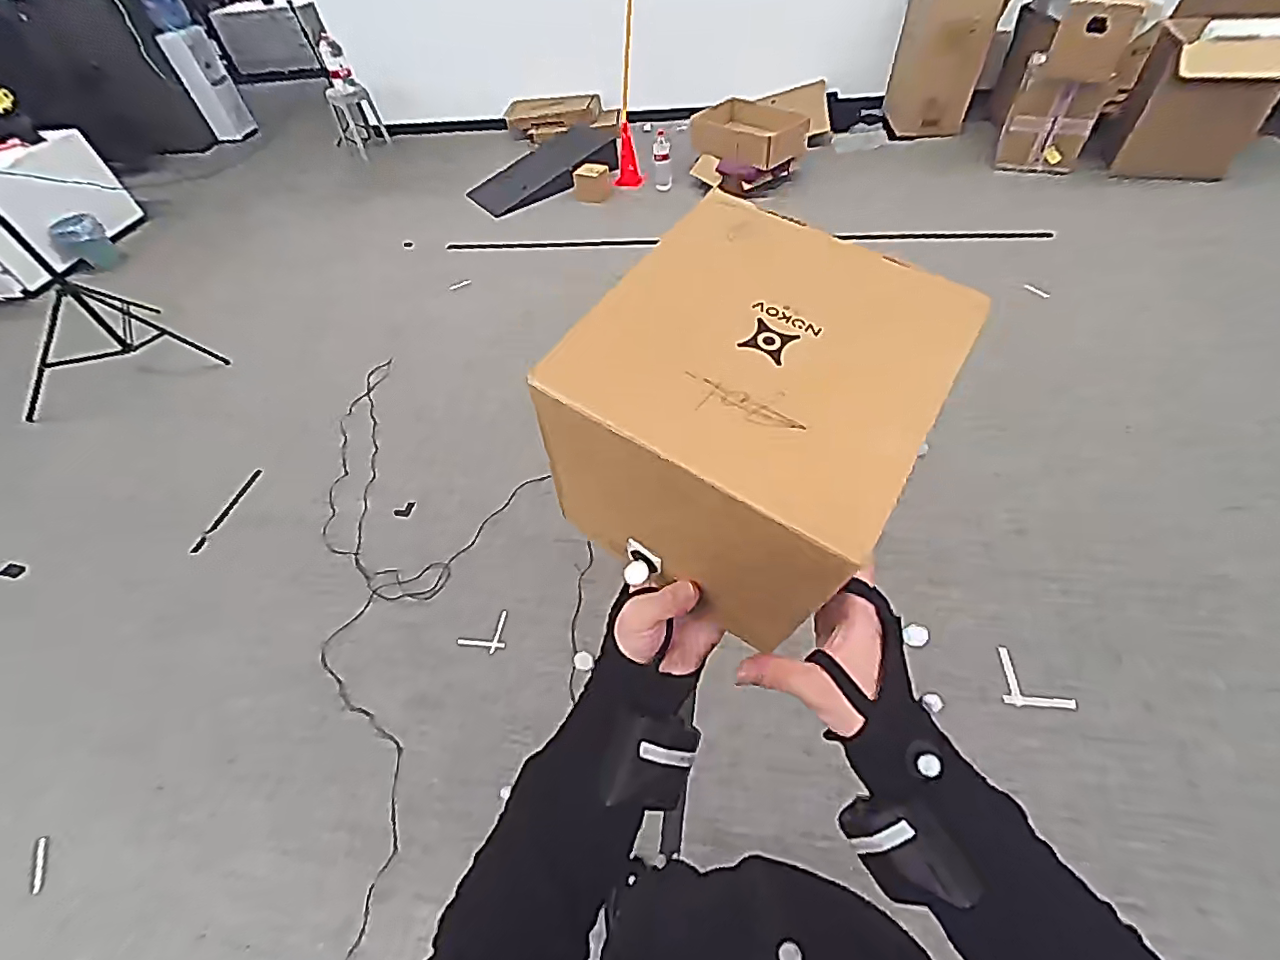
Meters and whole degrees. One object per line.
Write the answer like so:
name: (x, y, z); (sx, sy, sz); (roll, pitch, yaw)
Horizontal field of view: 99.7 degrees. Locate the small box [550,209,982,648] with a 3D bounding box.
small box: (0.067, -0.024, 0.340); (0.168, 0.176, 0.179); (30, 65, 15)
